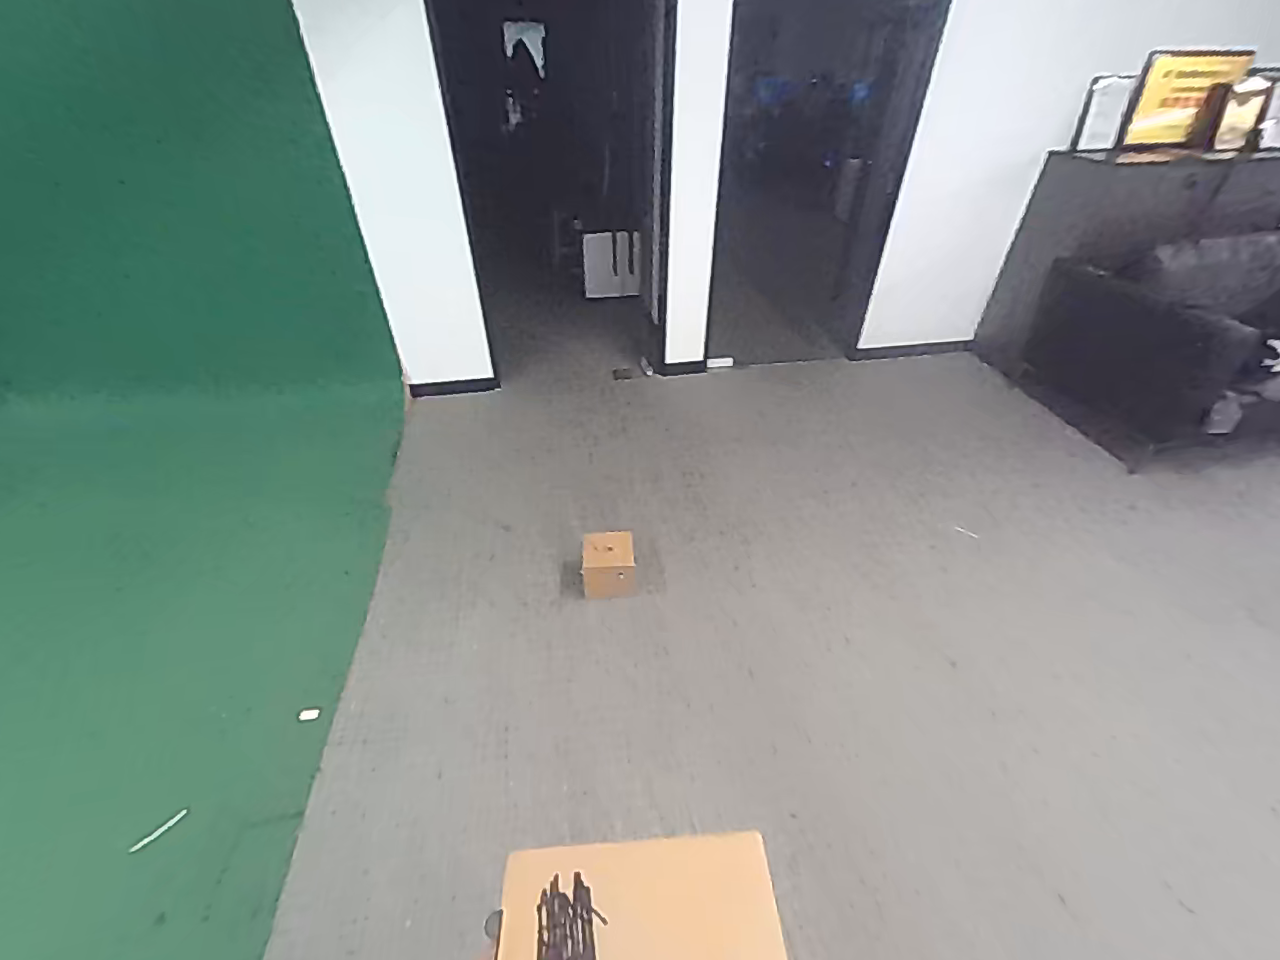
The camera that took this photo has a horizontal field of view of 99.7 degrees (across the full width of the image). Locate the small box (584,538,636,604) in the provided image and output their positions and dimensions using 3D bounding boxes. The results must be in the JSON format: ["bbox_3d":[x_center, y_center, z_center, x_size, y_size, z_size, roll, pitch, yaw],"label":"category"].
[{"bbox_3d":[-0.106,0.322,1.905,0.179,0.176,0.168,-3,39,-3],"label":"small box"}]
